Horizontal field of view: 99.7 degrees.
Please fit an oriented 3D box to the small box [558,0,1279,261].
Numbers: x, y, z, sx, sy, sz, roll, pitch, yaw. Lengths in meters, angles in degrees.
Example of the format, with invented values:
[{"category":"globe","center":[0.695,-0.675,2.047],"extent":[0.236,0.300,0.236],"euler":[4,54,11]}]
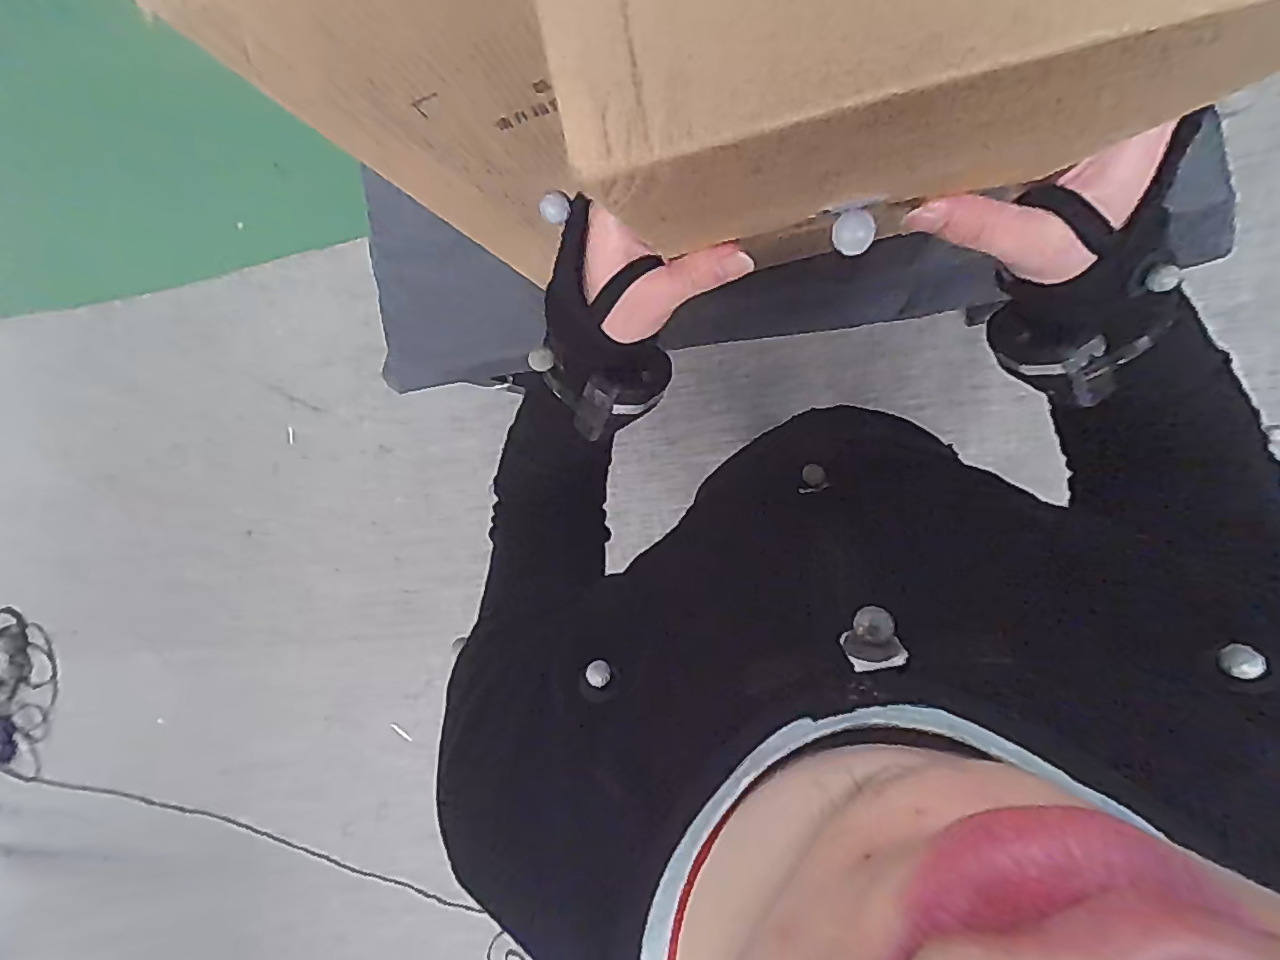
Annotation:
[{"category":"small box","center":[0.066,-0.173,0.147],"extent":[0.168,0.176,0.179],"euler":[-8,106,12]}]
